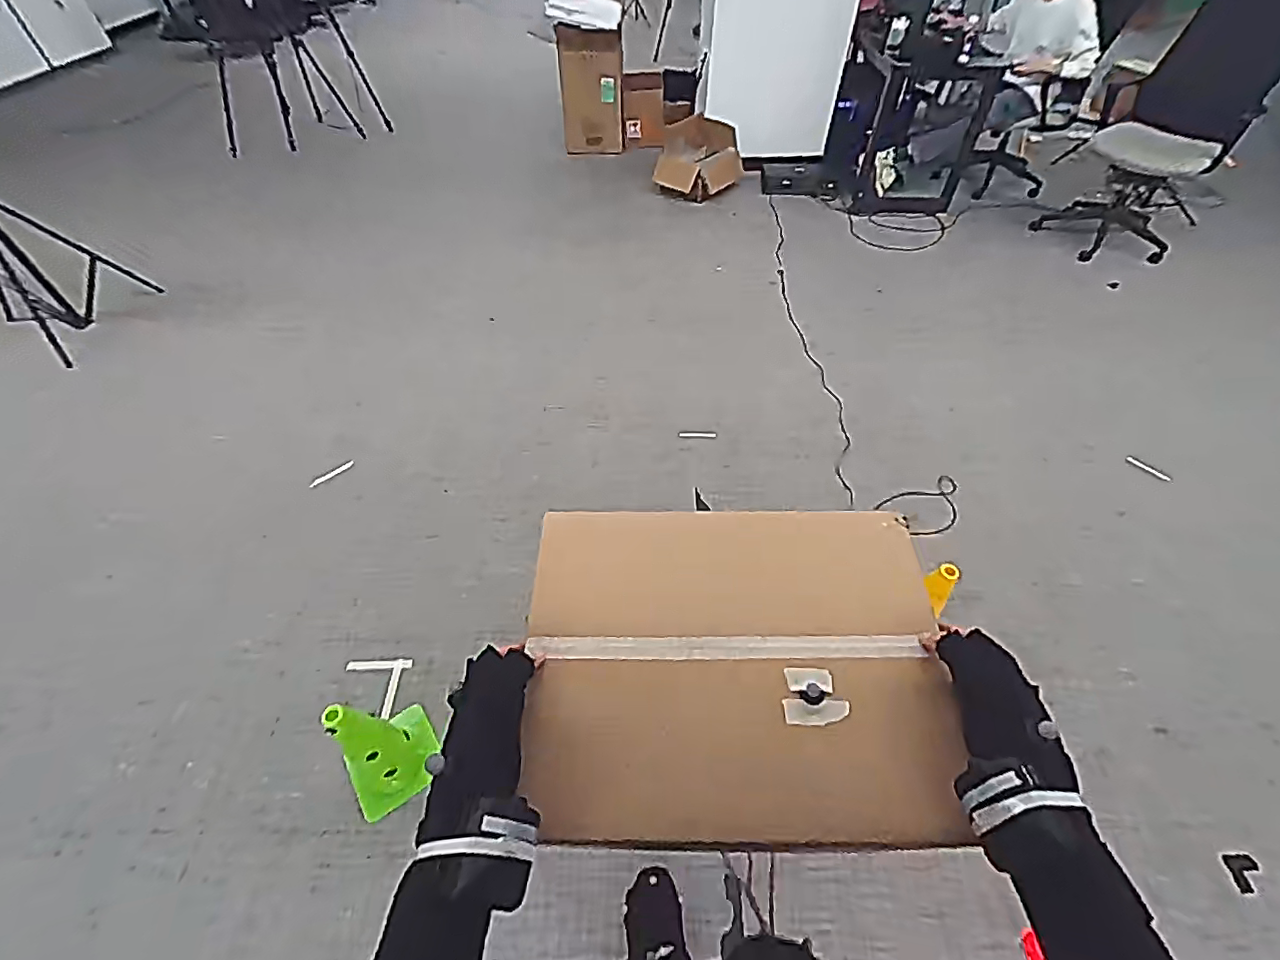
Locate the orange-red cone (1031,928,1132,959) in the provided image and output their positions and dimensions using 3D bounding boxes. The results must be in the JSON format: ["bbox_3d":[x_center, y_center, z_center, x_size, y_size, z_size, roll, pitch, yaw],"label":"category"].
[{"bbox_3d":[0.883,0.878,0.912,0.198,0.360,0.199,-1,48,-2],"label":"orange-red cone"}]

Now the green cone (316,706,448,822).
[{"bbox_3d":[-0.599,0.575,1.188,0.202,0.368,0.200,-31,55,-21],"label":"green cone"}]

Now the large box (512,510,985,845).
[{"bbox_3d":[0.090,0.247,0.654,0.408,0.320,0.320,0,55,1],"label":"large box"}]
